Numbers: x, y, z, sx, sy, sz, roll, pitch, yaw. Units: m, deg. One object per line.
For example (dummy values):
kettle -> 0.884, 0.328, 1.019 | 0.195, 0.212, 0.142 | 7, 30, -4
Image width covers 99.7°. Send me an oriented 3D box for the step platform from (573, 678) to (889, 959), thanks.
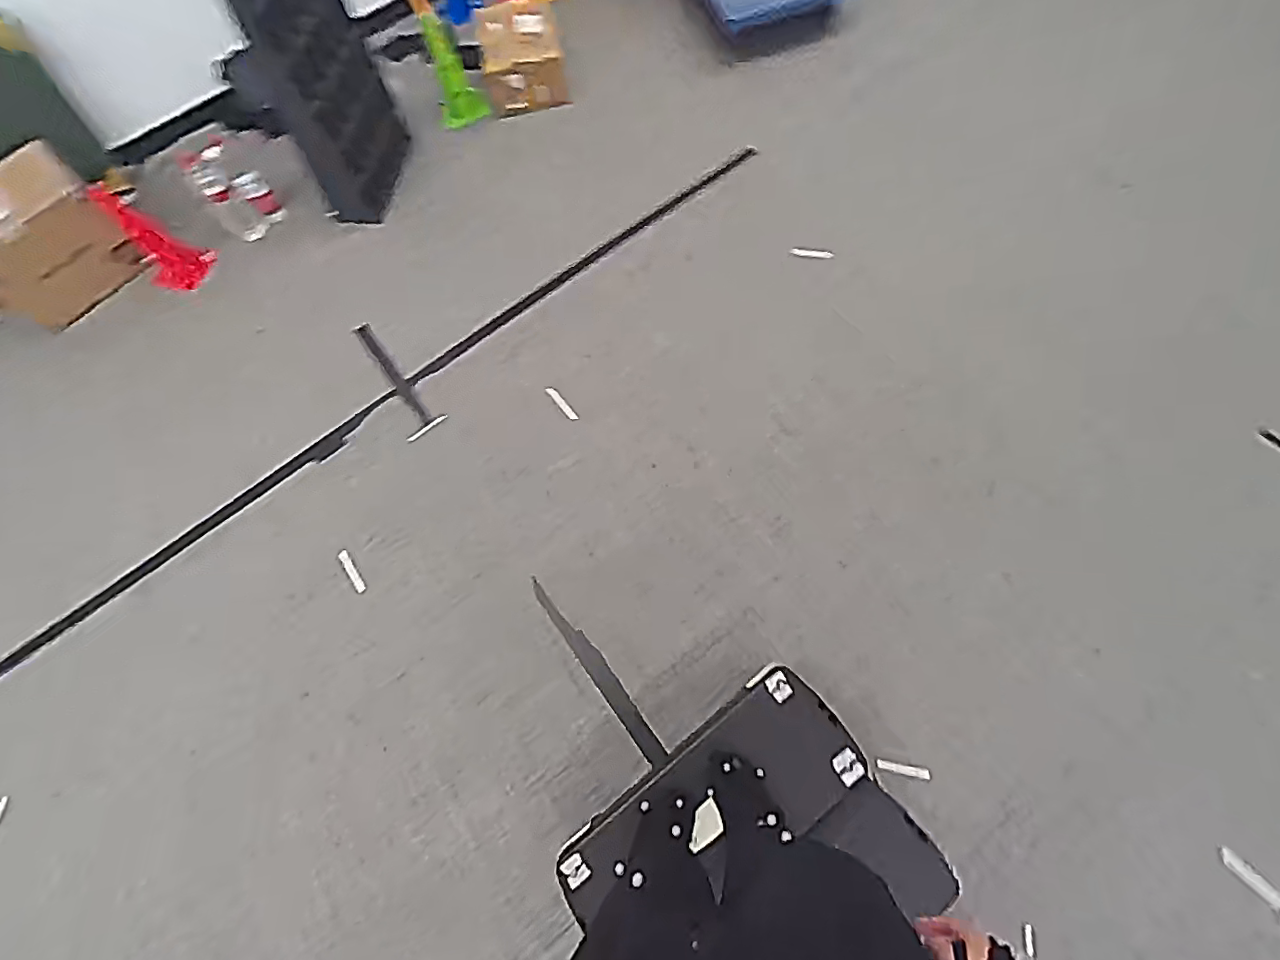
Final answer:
step platform -> 0.195, 0.740, 1.181 | 0.684, 0.204, 0.286 | -33, 67, -10
